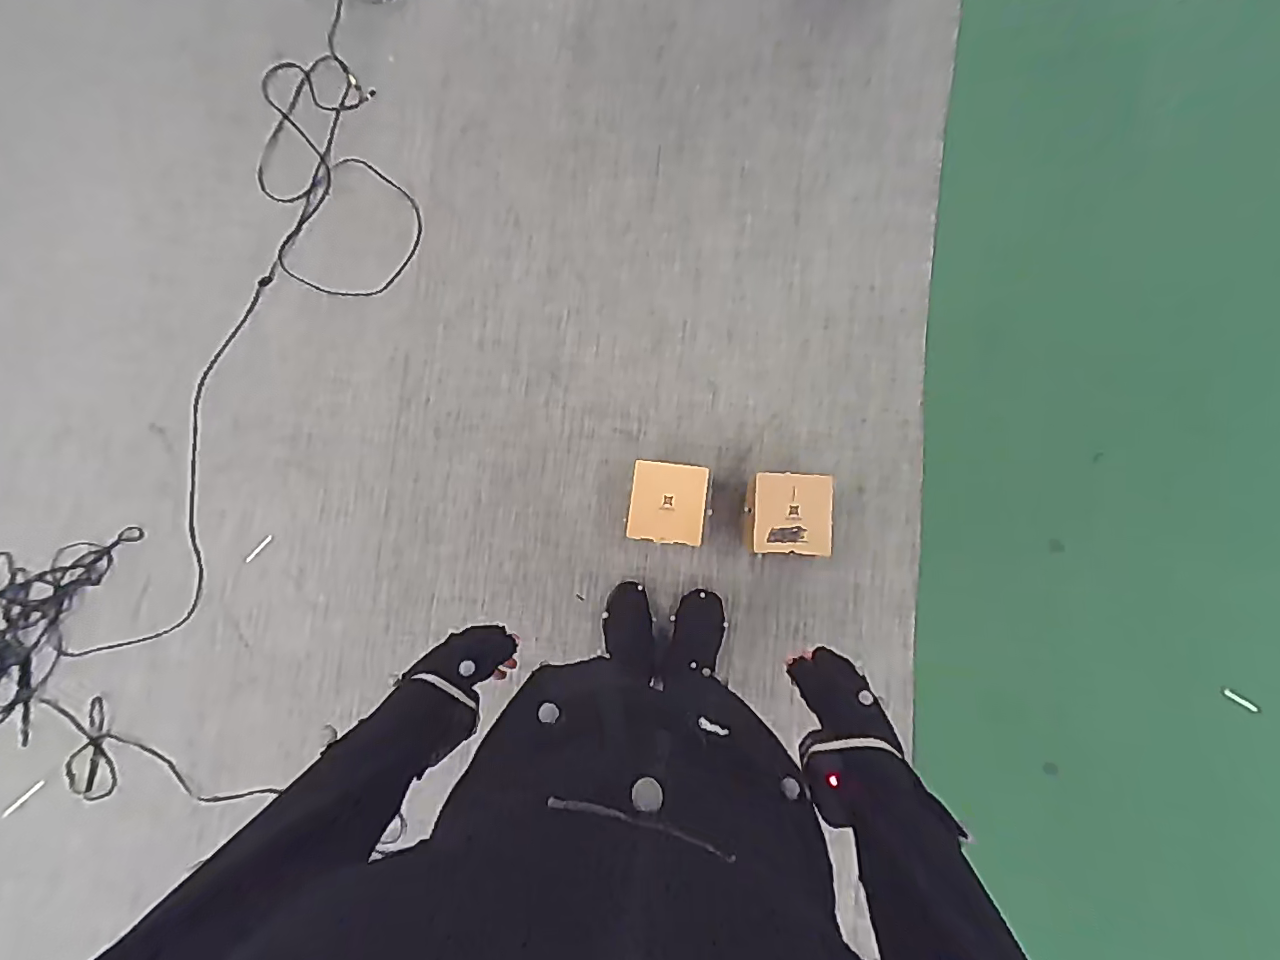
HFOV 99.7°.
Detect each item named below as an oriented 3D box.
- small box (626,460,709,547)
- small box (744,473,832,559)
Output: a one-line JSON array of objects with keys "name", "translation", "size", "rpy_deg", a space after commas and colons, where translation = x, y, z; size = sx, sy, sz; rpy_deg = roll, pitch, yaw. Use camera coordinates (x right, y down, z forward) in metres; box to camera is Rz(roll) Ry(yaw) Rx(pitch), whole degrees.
[{"name": "small box", "translation": [0.065, 0.059, 1.261], "size": [0.168, 0.176, 0.179], "rpy_deg": [7, 85, 5]}, {"name": "small box", "translation": [0.332, 0.084, 1.235], "size": [0.168, 0.176, 0.179], "rpy_deg": [4, 84, 5]}]
